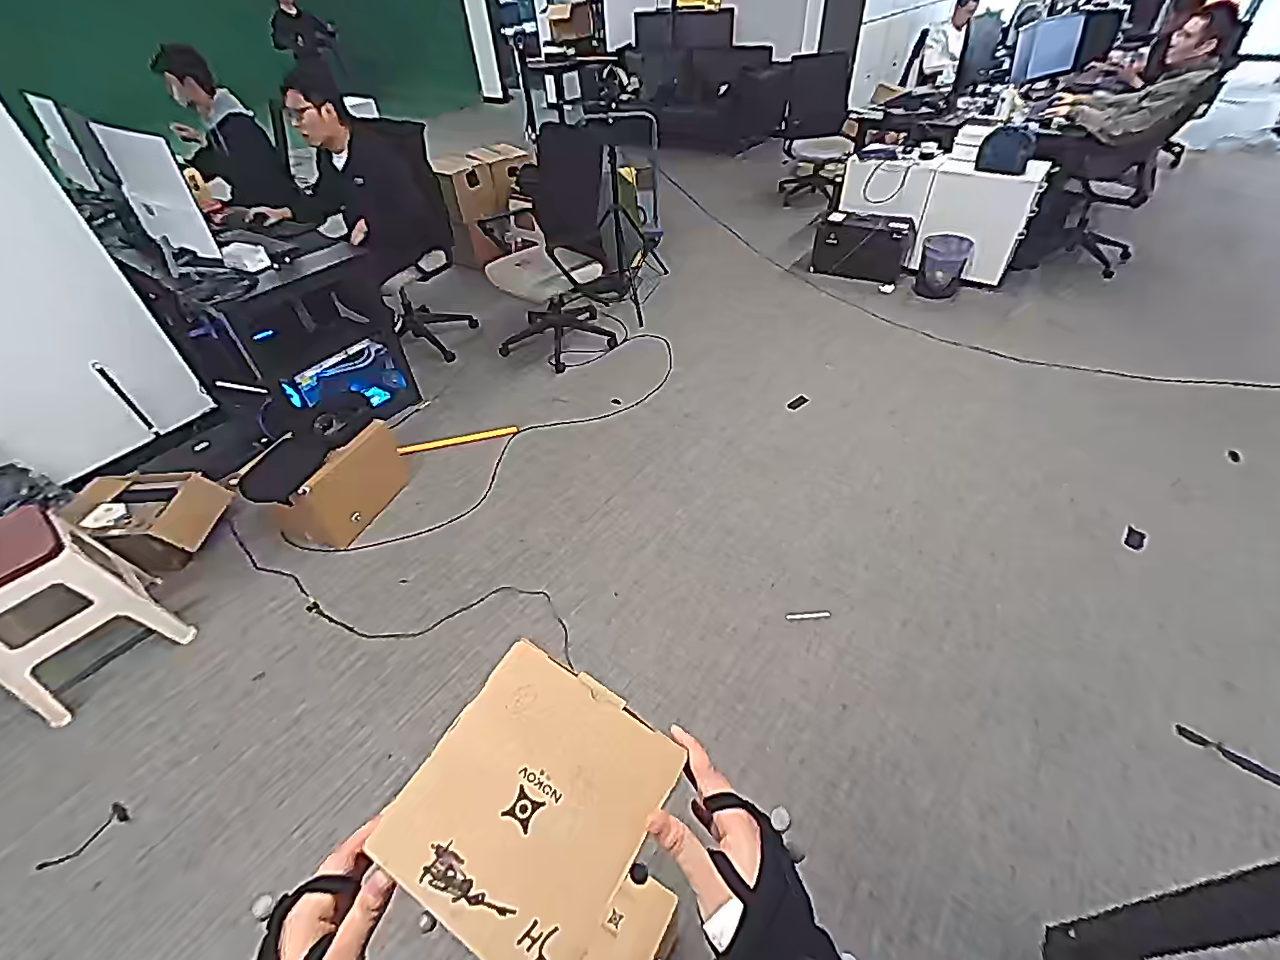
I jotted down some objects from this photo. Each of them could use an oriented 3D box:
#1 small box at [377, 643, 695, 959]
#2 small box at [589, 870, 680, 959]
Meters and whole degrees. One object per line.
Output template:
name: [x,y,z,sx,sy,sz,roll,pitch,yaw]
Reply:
small box: [-0.073,0.277,0.457,0.168,0.176,0.179,28,58,19]
small box: [-0.036,0.822,0.982,0.168,0.176,0.179,21,47,23]
